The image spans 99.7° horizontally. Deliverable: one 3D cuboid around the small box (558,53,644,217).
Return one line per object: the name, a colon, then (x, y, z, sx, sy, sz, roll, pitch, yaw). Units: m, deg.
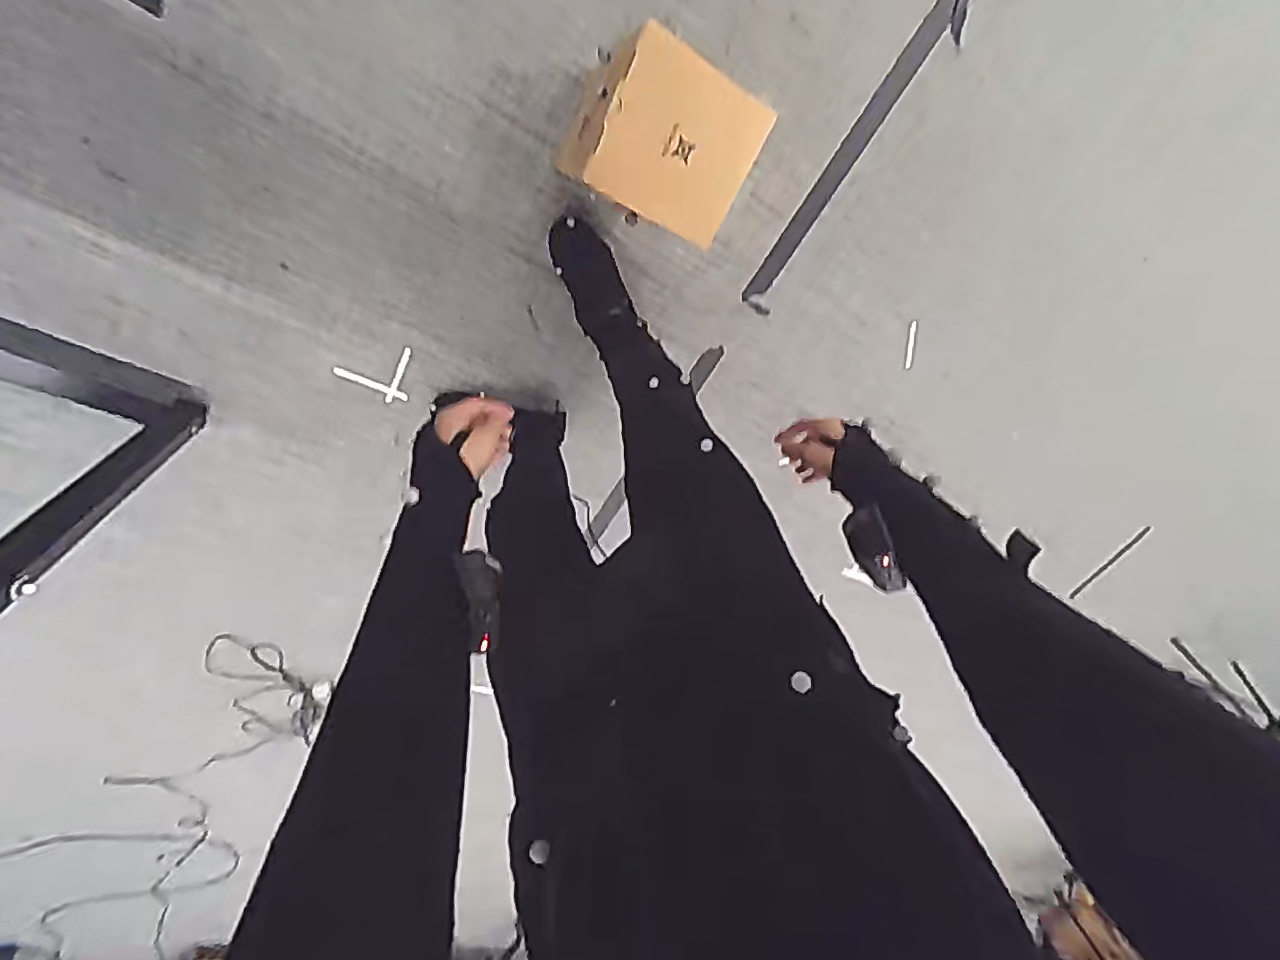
small box: (-0.038, -0.594, 0.944, 0.168, 0.176, 0.179, 20, 116, -23)

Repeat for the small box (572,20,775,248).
small box: (0.029, -0.421, 0.674, 0.179, 0.176, 0.168, 19, 117, -22)
